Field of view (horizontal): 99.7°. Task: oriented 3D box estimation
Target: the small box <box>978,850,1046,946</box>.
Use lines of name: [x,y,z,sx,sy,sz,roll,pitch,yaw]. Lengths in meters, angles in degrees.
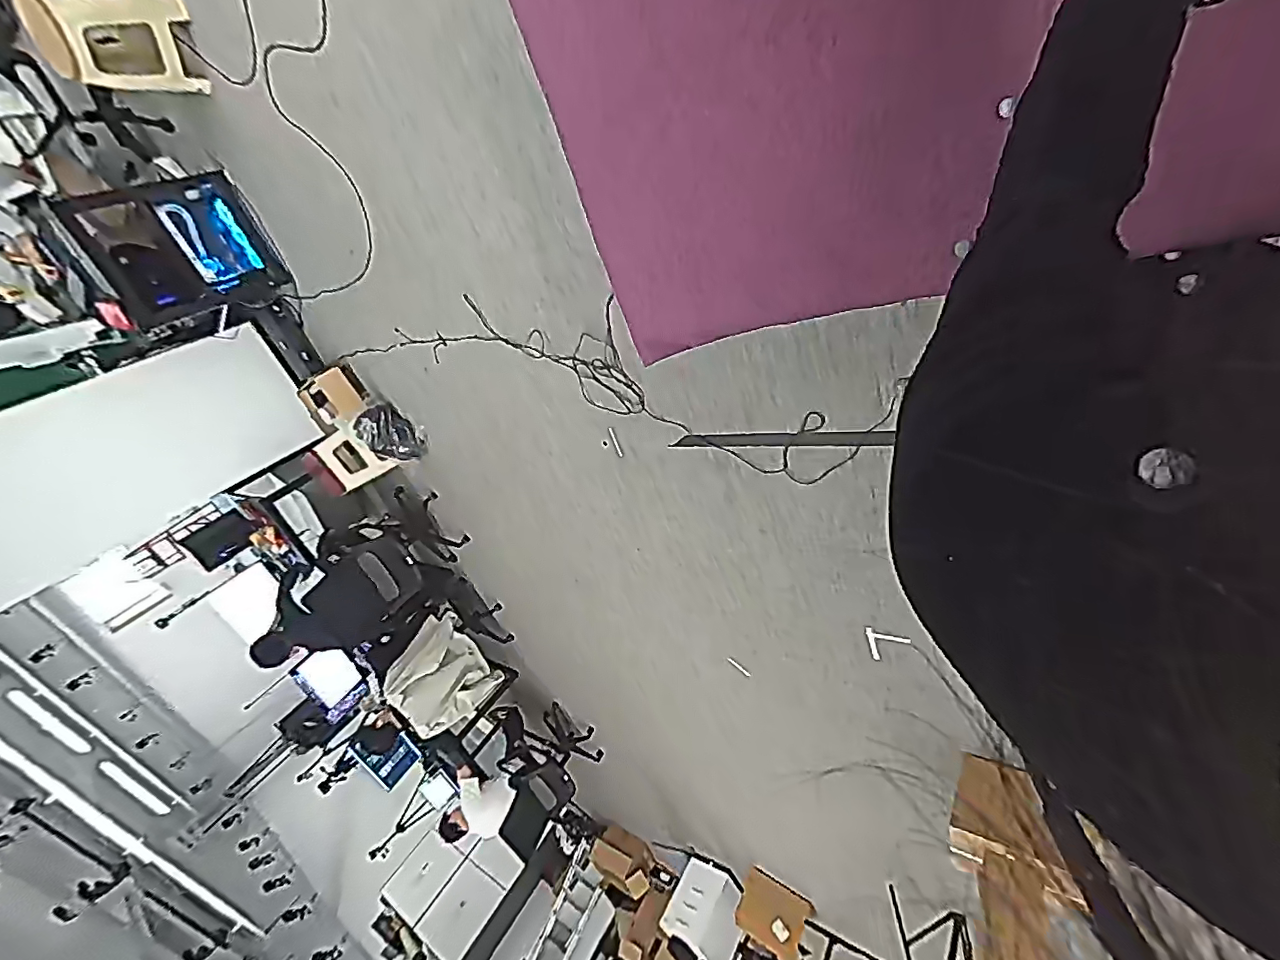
small box: [1.262,1.402,1.828,0.179,0.176,0.168,2,124,41]
